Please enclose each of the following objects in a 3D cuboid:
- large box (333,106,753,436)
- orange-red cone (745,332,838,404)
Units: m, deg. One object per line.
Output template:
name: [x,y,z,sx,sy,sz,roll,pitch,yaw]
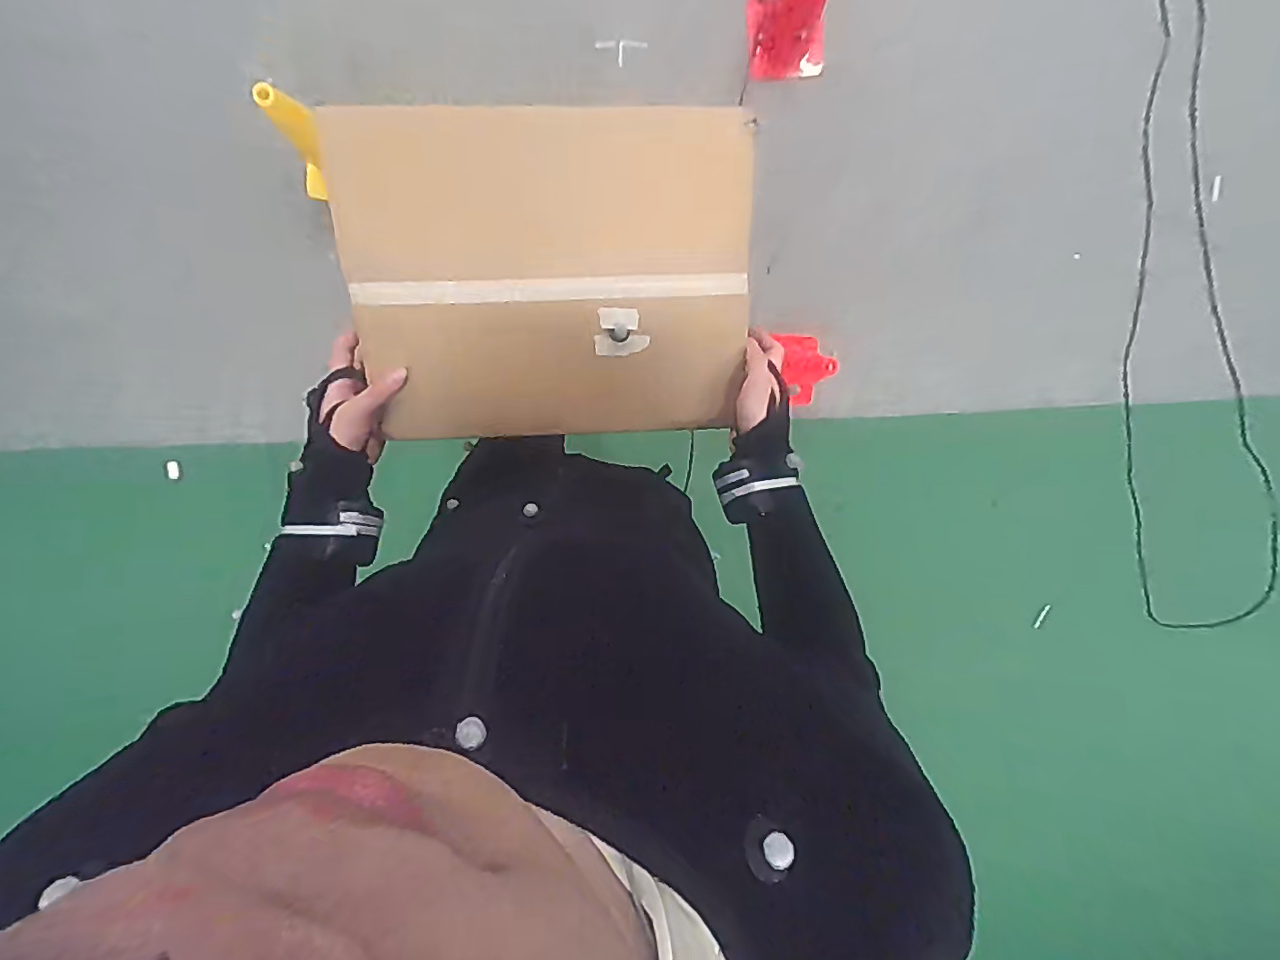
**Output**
large box: [-0.096,-0.257,0.701,0.408,0.320,0.320,-3,112,-4]
orange-red cone: [0.427,-0.291,1.412,0.199,0.360,0.198,4,101,-6]
